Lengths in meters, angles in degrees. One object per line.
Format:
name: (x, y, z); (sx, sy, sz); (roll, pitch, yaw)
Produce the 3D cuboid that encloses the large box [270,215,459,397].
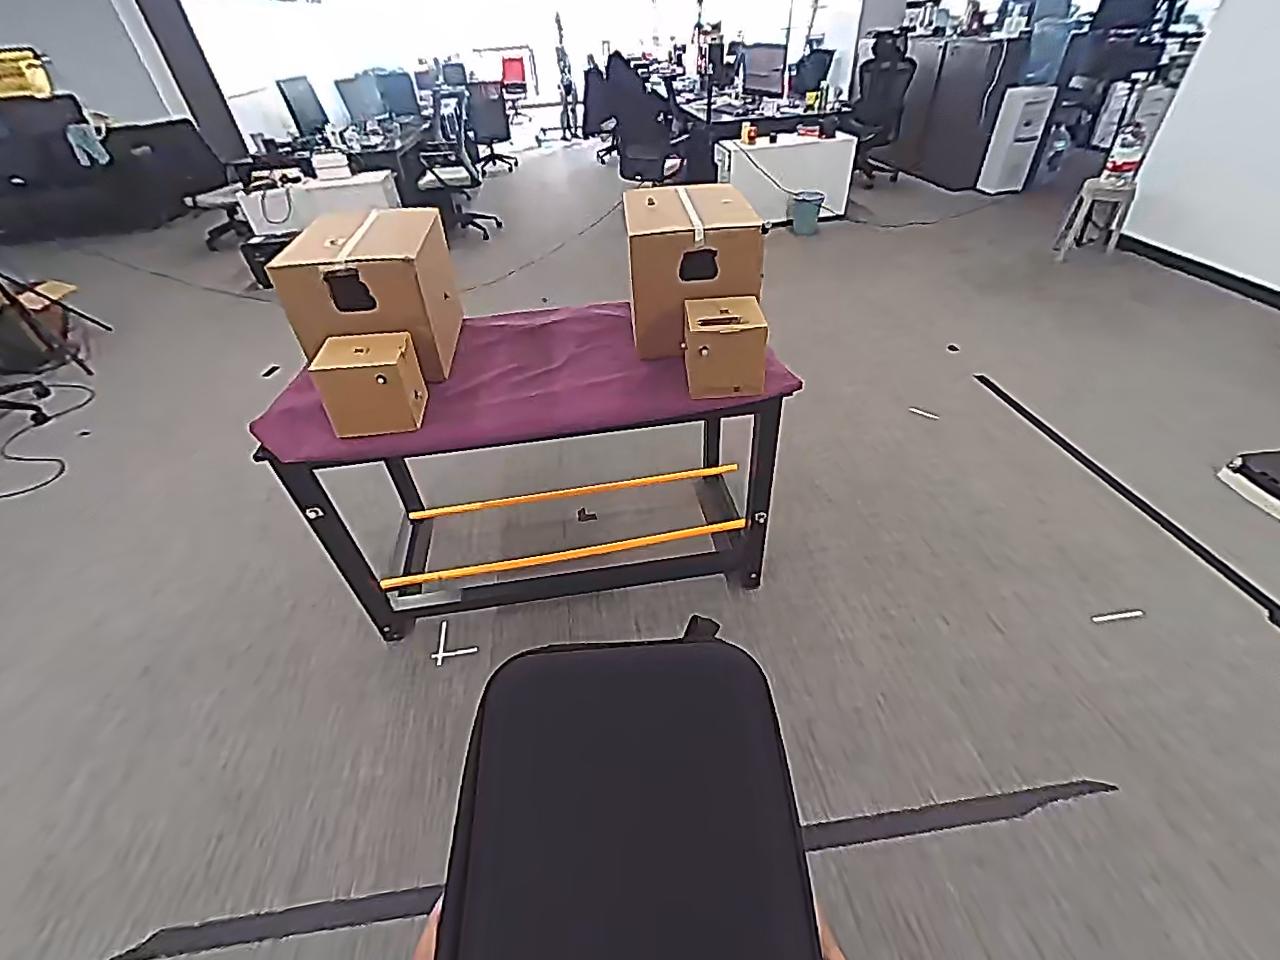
large box: (-0.676, -0.466, 1.417); (0.320, 0.320, 0.408); (-7, 43, -5)
